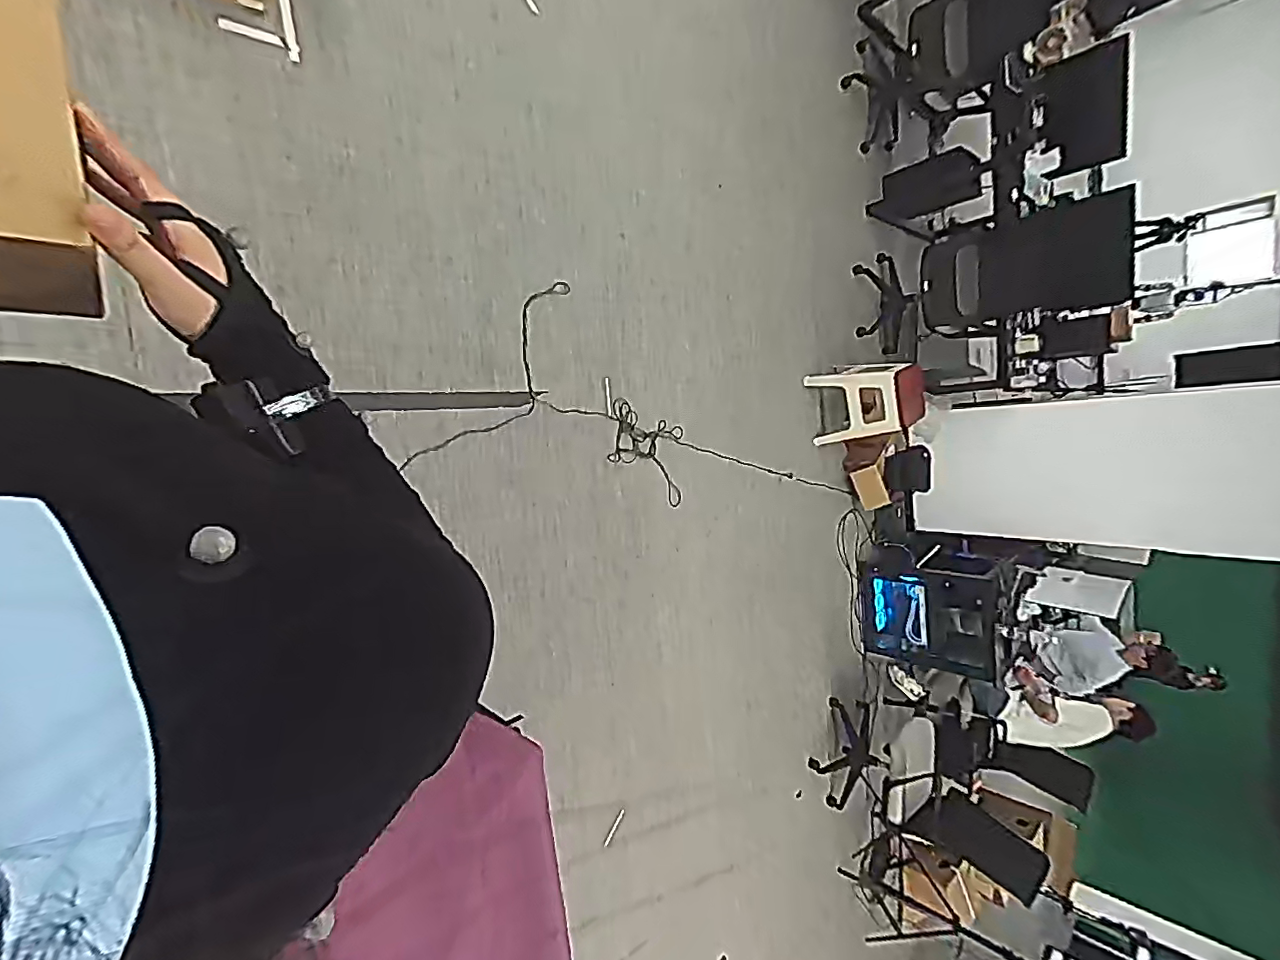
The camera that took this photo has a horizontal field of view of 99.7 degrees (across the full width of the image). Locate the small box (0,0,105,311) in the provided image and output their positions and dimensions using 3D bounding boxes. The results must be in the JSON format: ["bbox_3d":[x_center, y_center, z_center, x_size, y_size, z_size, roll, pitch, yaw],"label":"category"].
[{"bbox_3d":[-0.432,-0.208,0.310,0.168,0.176,0.179,-8,94,-45],"label":"small box"}]
